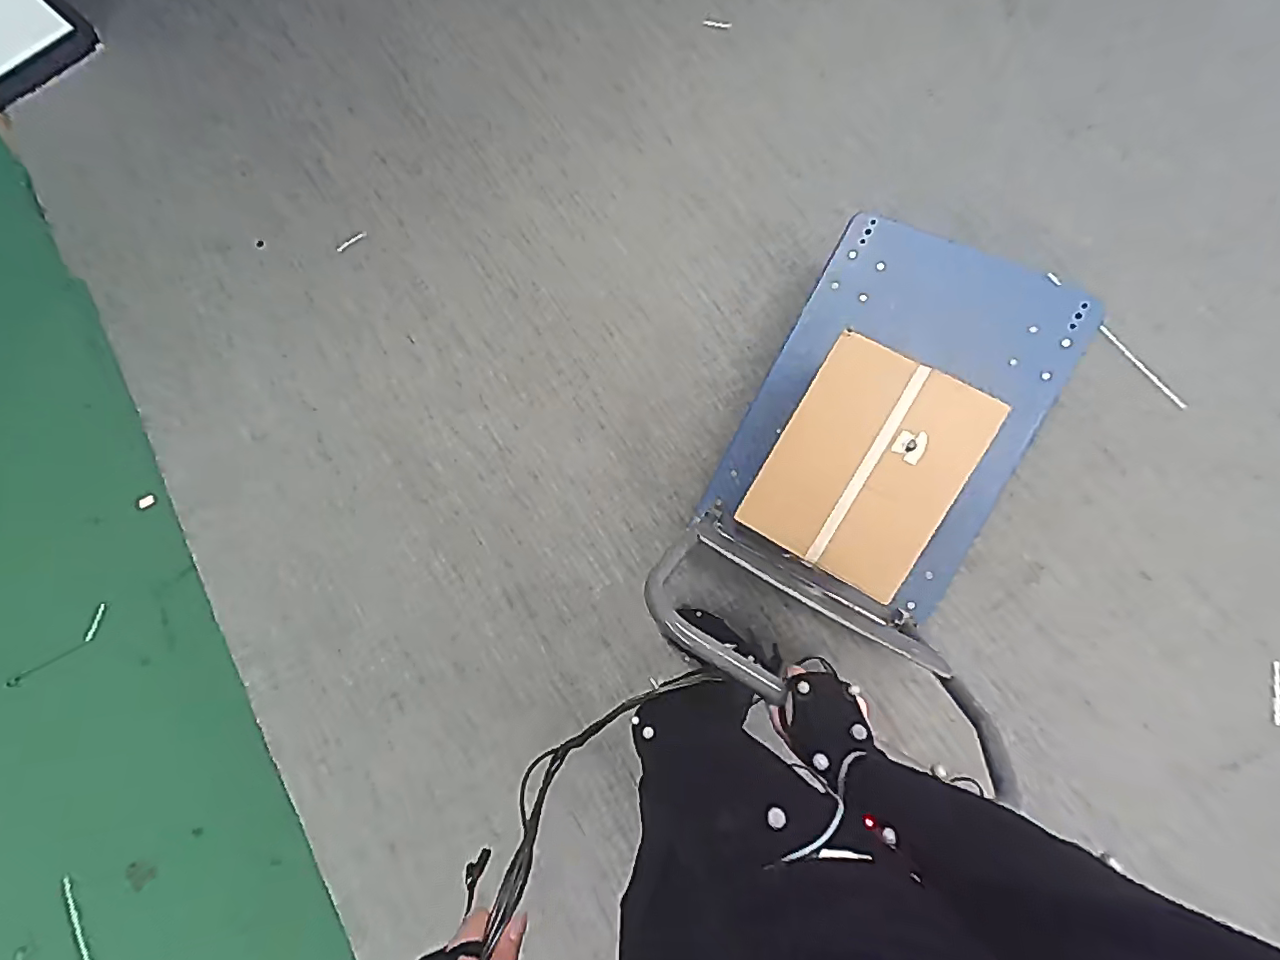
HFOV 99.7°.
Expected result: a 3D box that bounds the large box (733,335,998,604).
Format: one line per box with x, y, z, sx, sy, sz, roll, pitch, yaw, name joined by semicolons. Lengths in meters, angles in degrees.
0.428;-0.015;1.121;0.320;0.320;0.408;31;95;11;large box
